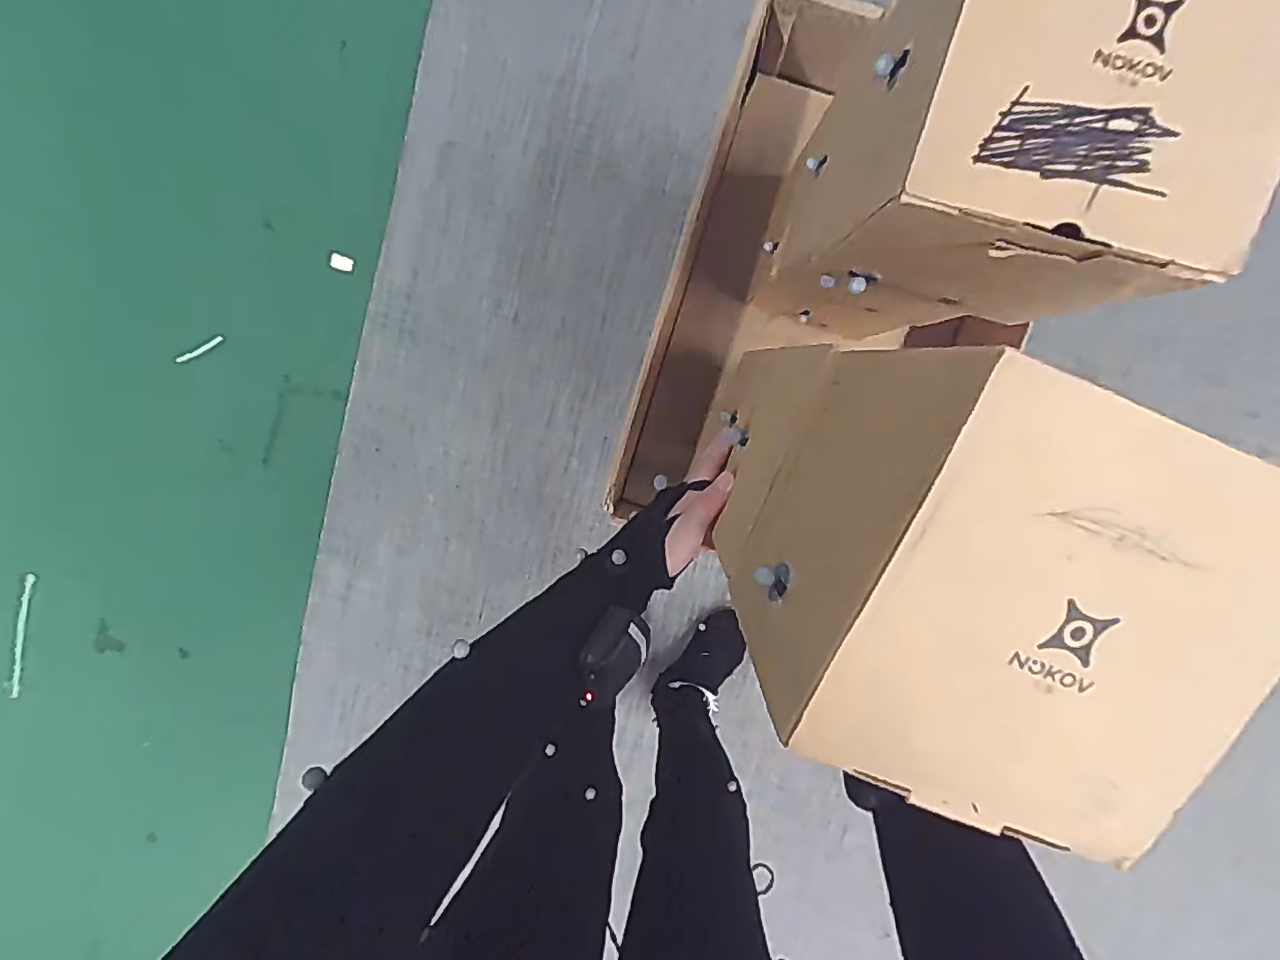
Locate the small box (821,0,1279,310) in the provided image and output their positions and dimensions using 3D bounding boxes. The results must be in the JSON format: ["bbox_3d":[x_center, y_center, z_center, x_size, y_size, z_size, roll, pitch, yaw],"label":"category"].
[{"bbox_3d":[0.221,-0.210,0.313,0.168,0.176,0.179,14,100,0],"label":"small box"}]

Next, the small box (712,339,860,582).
[{"bbox_3d":[0.166,-0.001,0.440,0.168,0.176,0.179,21,103,-4],"label":"small box"}]

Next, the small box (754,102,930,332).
[{"bbox_3d":[0.243,-0.287,0.633,0.168,0.176,0.179,16,100,0],"label":"small box"}]

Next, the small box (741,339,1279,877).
[{"bbox_3d":[0.164,0.042,0.282,0.168,0.176,0.179,22,102,-4],"label":"small box"}]

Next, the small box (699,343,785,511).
[{"bbox_3d":[0.172,-0.038,0.599,0.168,0.176,0.179,20,102,-3],"label":"small box"}]
